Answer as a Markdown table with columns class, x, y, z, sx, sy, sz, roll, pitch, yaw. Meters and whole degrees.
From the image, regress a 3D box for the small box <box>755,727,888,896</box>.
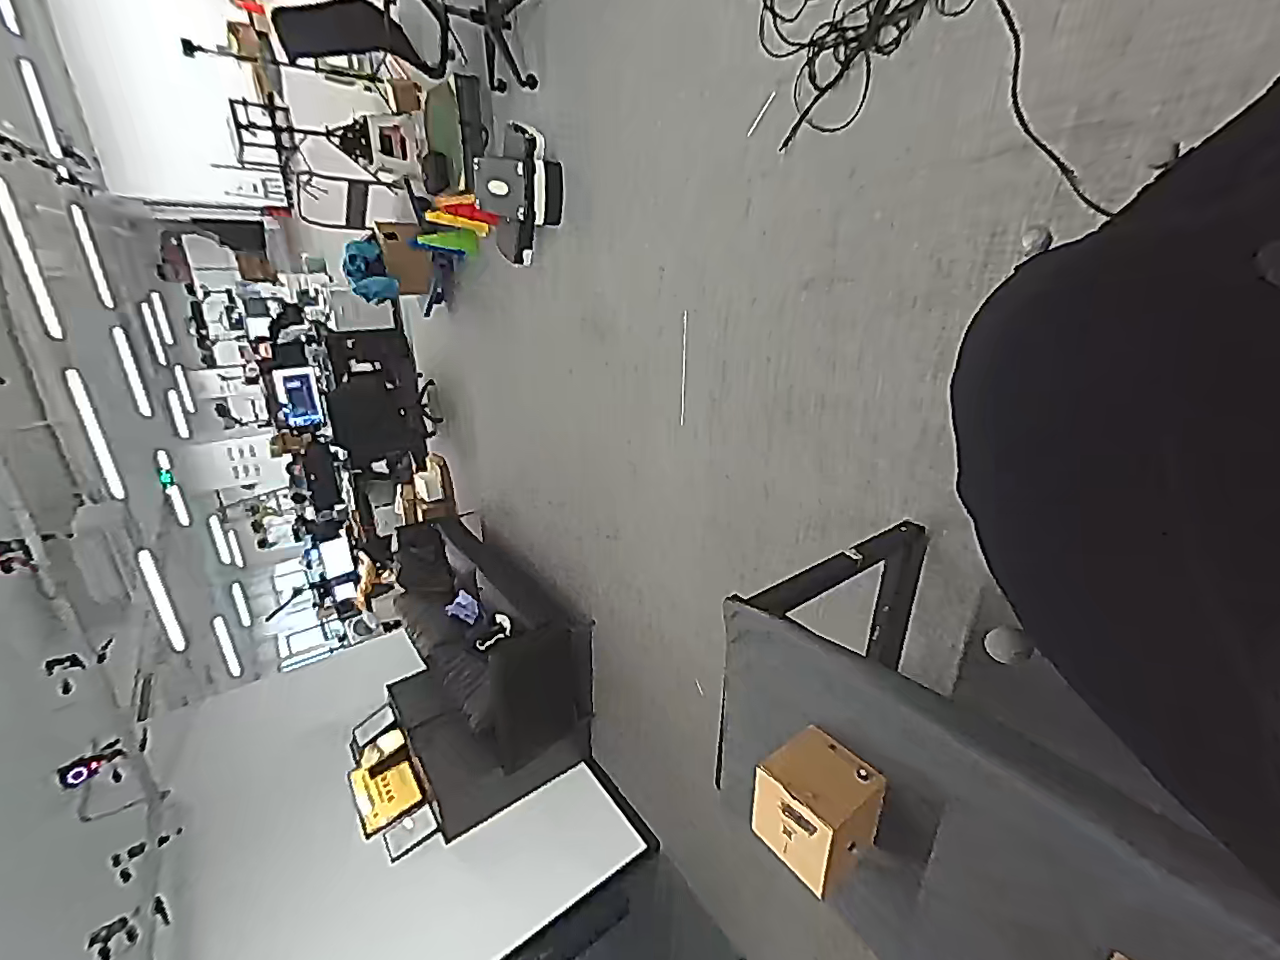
| class | x | y | z | sx | sy | sz | roll | pitch | yaw |
| --- | --- | --- | --- | --- | --- | --- | --- | --- | --- |
| small box | 0.340 | 0.609 | 1.019 | 0.168 | 0.176 | 0.179 | 26 | 124 | 48 |
